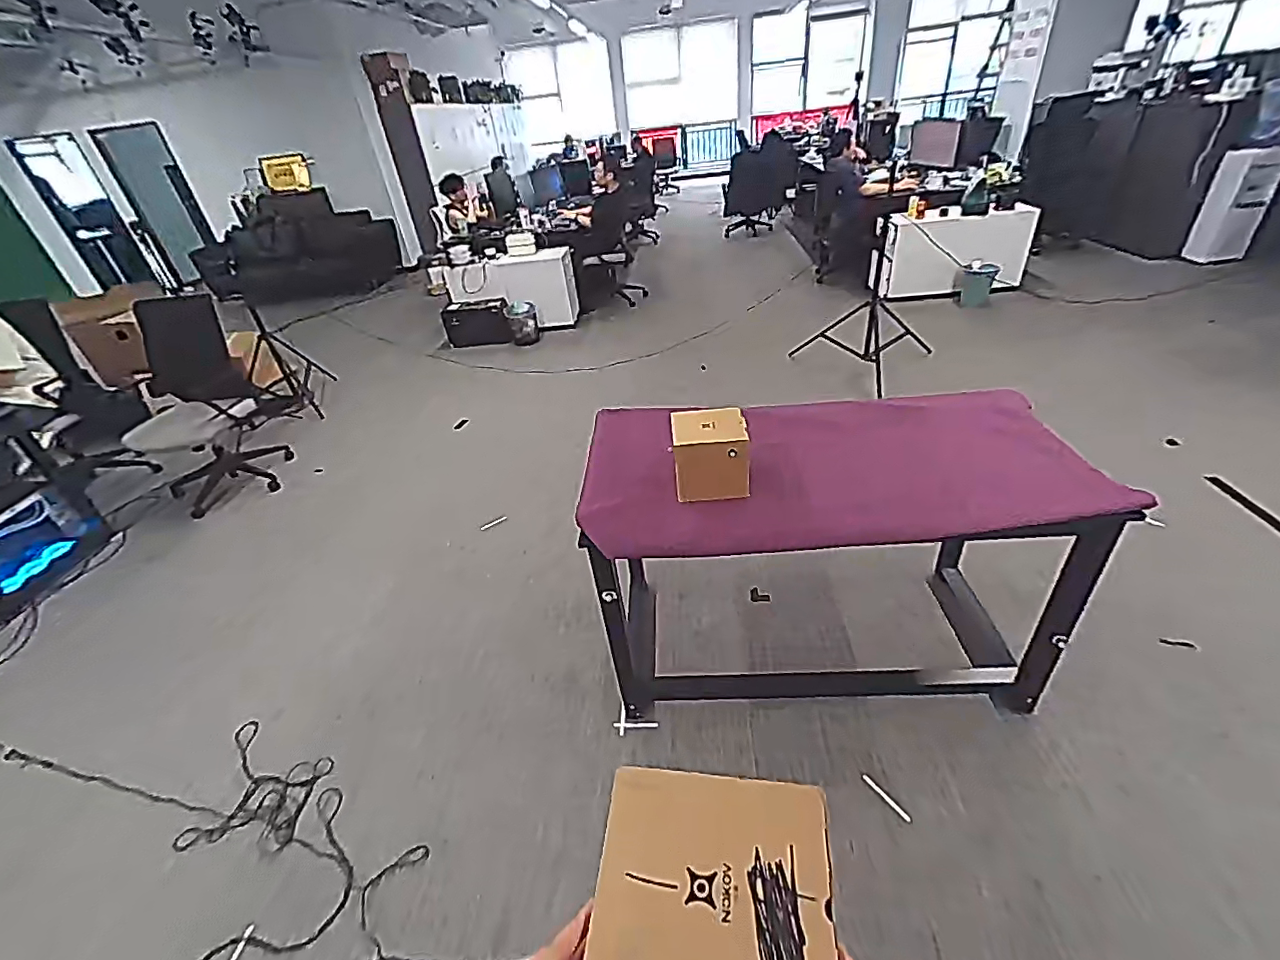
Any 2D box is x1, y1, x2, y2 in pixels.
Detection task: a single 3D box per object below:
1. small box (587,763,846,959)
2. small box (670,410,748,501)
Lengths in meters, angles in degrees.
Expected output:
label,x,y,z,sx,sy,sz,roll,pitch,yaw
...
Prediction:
label,x,y,z,sx,sy,sz,roll,pitch,yaw
small box,0.064,0.364,0.447,0.179,0.176,0.168,1,38,11
small box,0.172,-0.059,1.351,0.179,0.176,0.168,-5,34,3
